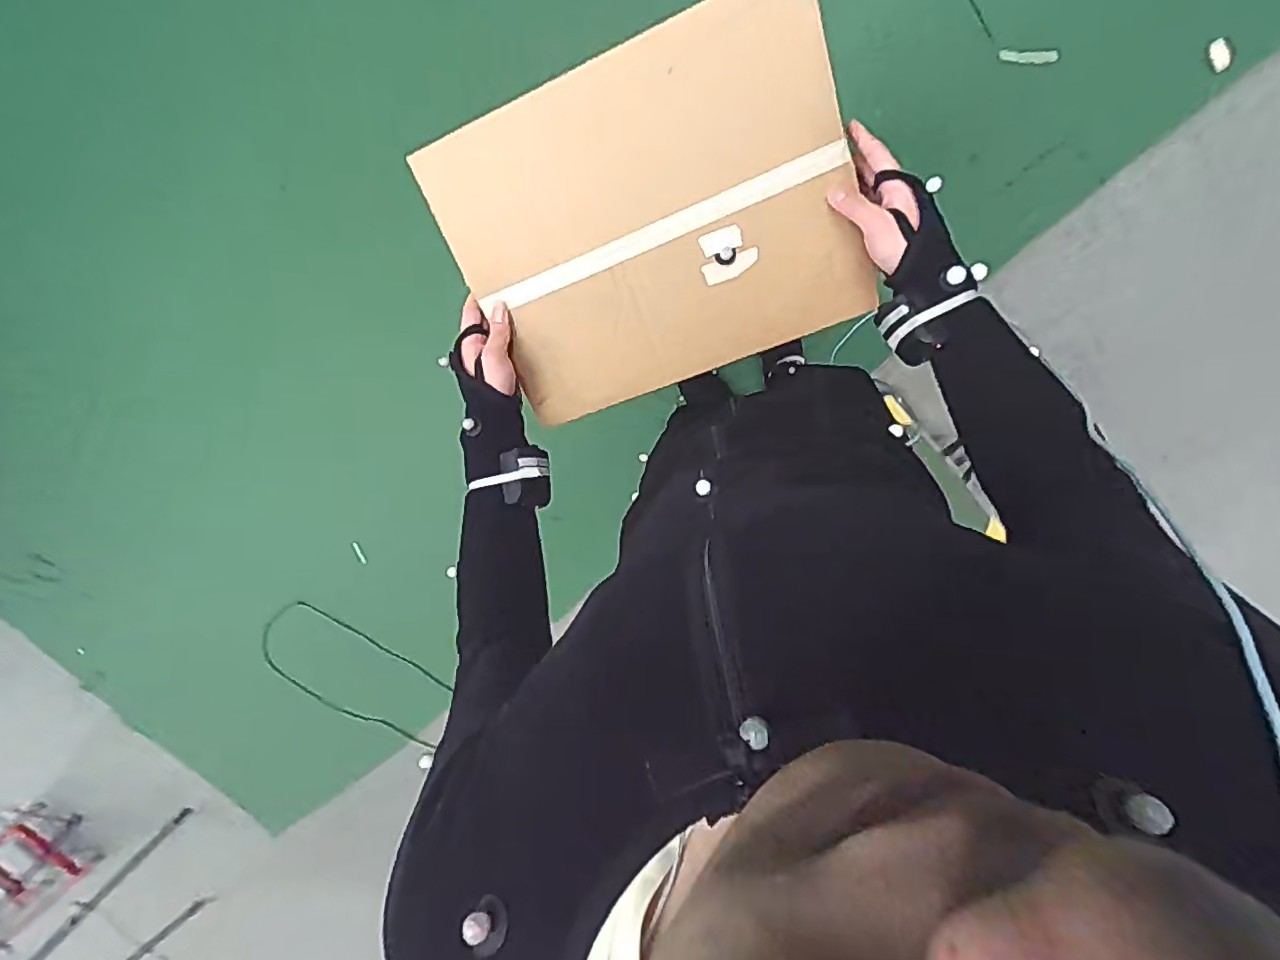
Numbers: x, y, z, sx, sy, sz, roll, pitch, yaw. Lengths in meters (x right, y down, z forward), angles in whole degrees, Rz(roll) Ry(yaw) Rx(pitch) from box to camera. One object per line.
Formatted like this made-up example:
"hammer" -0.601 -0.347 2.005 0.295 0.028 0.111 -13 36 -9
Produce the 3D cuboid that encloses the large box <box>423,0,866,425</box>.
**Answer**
"large box" 0.018 -0.320 0.708 0.408 0.320 0.320 -18 114 12
